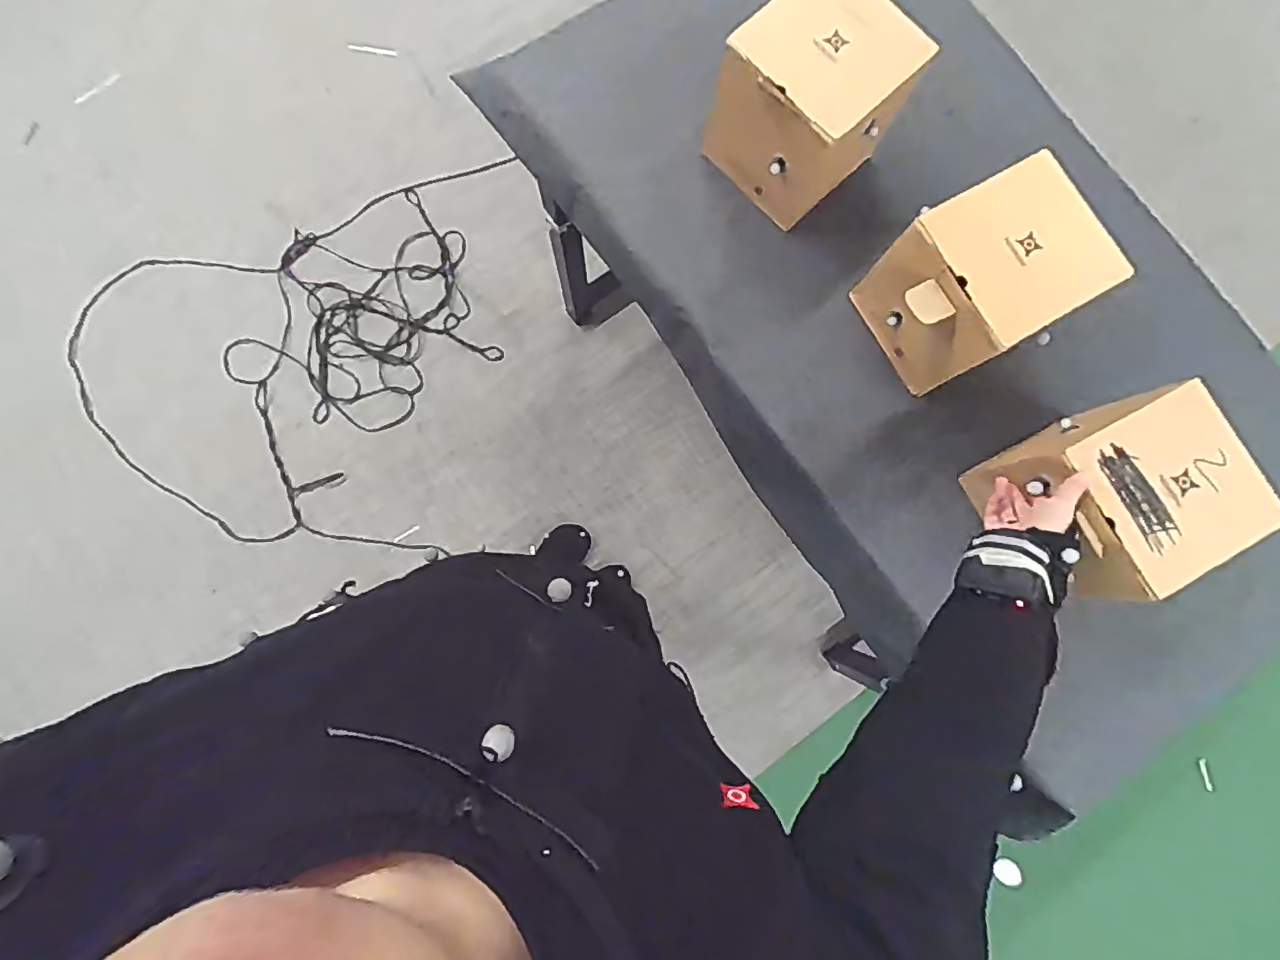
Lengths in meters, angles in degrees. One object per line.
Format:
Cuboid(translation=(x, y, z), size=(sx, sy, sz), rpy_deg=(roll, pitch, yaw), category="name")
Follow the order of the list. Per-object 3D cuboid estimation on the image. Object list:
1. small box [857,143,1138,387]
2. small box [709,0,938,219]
Cuboid(translation=(0.394, -0.234, 0.630), size=(0.179, 0.176, 0.168), rpy_deg=(-30, 85, -6), category="small box")
Cuboid(translation=(0.200, -0.461, 0.651), size=(0.179, 0.176, 0.168), rpy_deg=(-44, 88, -9), category="small box")
